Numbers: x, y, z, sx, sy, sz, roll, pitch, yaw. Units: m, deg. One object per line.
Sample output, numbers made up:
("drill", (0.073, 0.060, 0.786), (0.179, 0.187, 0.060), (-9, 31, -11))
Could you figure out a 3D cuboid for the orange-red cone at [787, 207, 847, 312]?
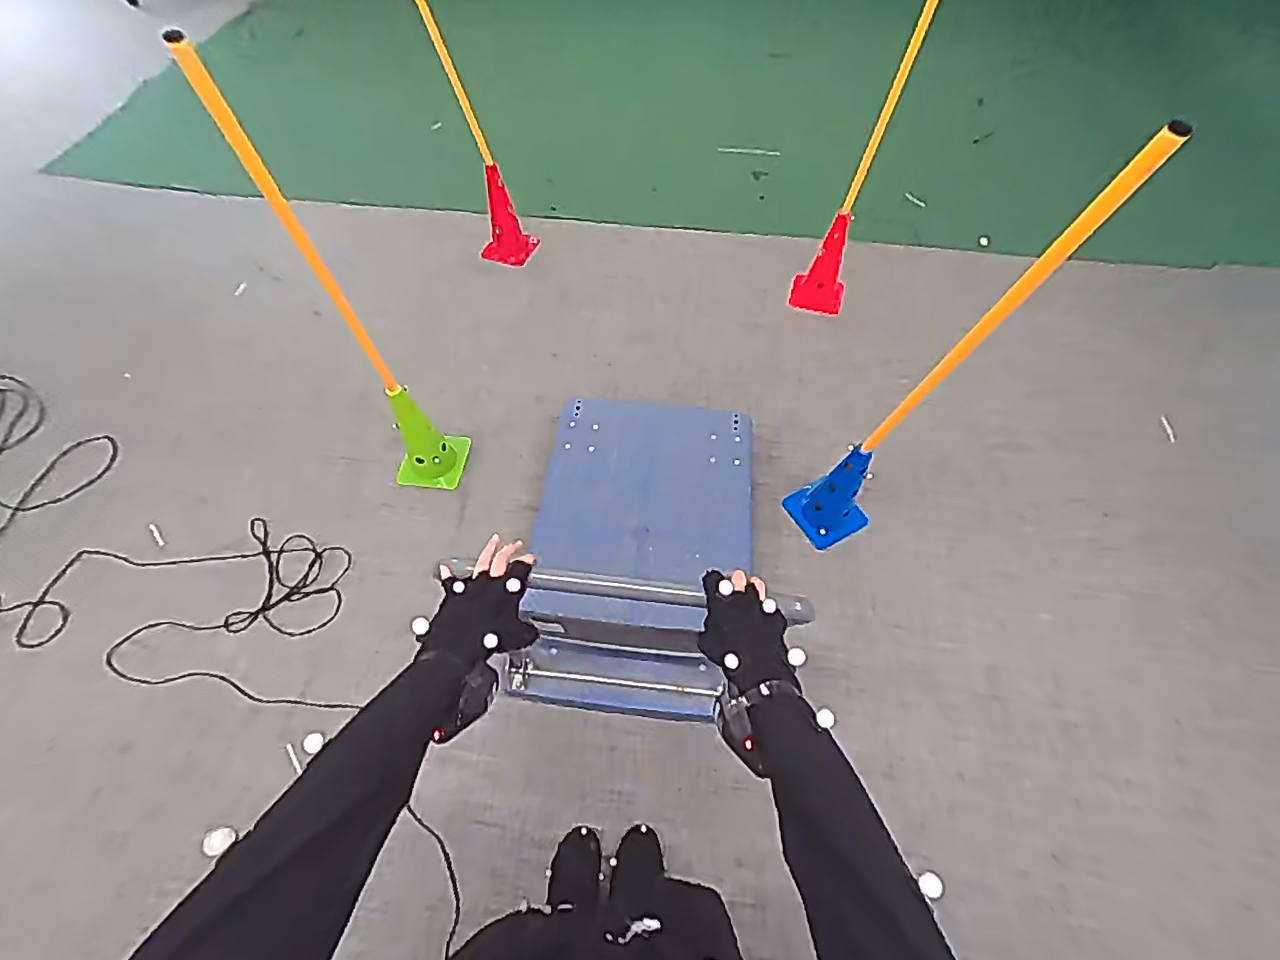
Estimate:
("orange-red cone", (0.696, -0.834, 2.005), (0.198, 0.360, 0.199), (16, 61, 10))
